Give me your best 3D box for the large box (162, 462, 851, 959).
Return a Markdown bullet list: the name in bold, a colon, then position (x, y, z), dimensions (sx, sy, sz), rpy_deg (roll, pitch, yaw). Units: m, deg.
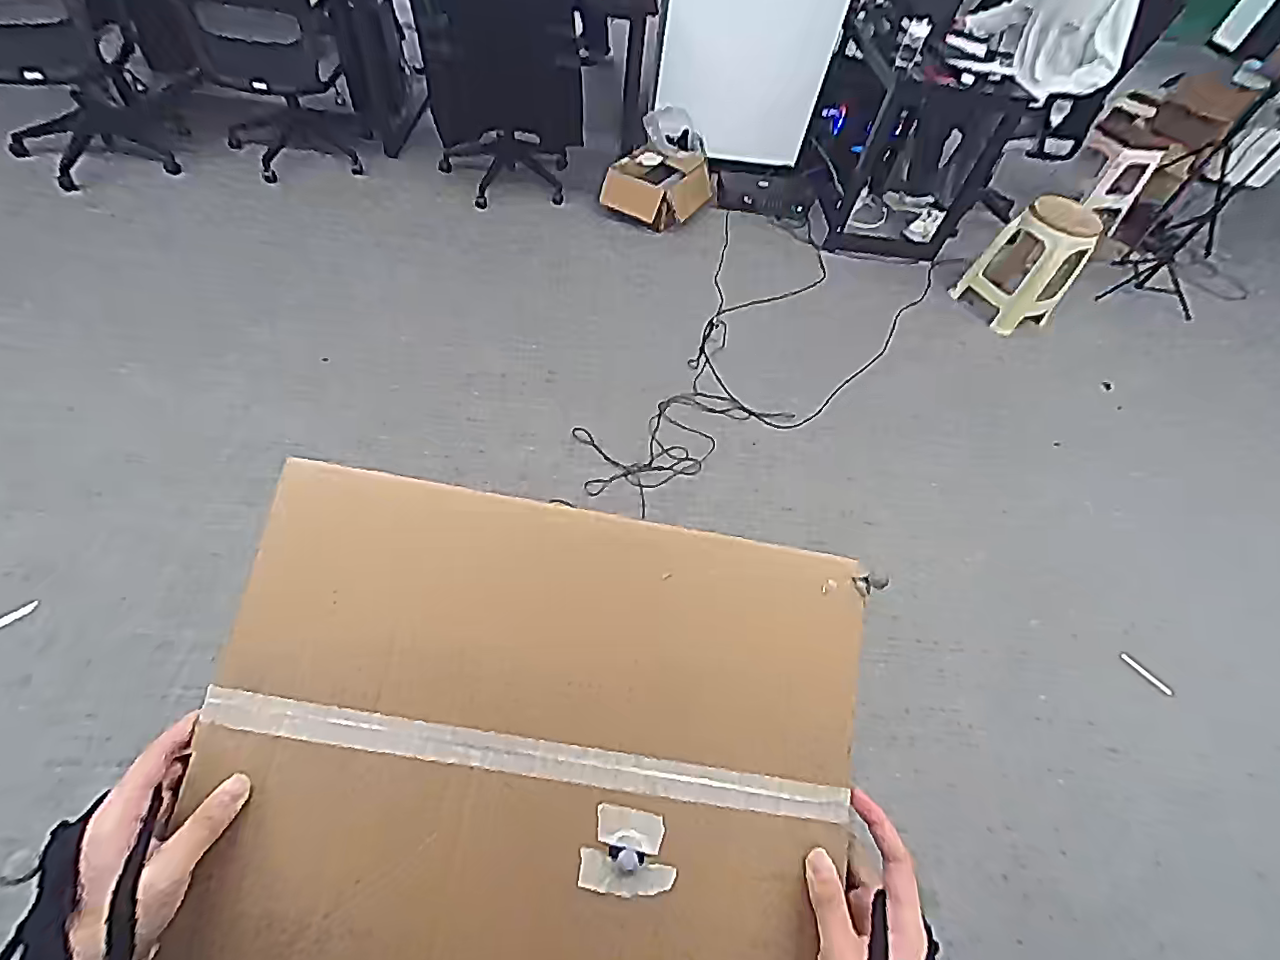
- **large box**: position (-0.076, 0.194, 0.500), dimensions (0.408, 0.320, 0.320), rpy_deg (10, 79, -2)
